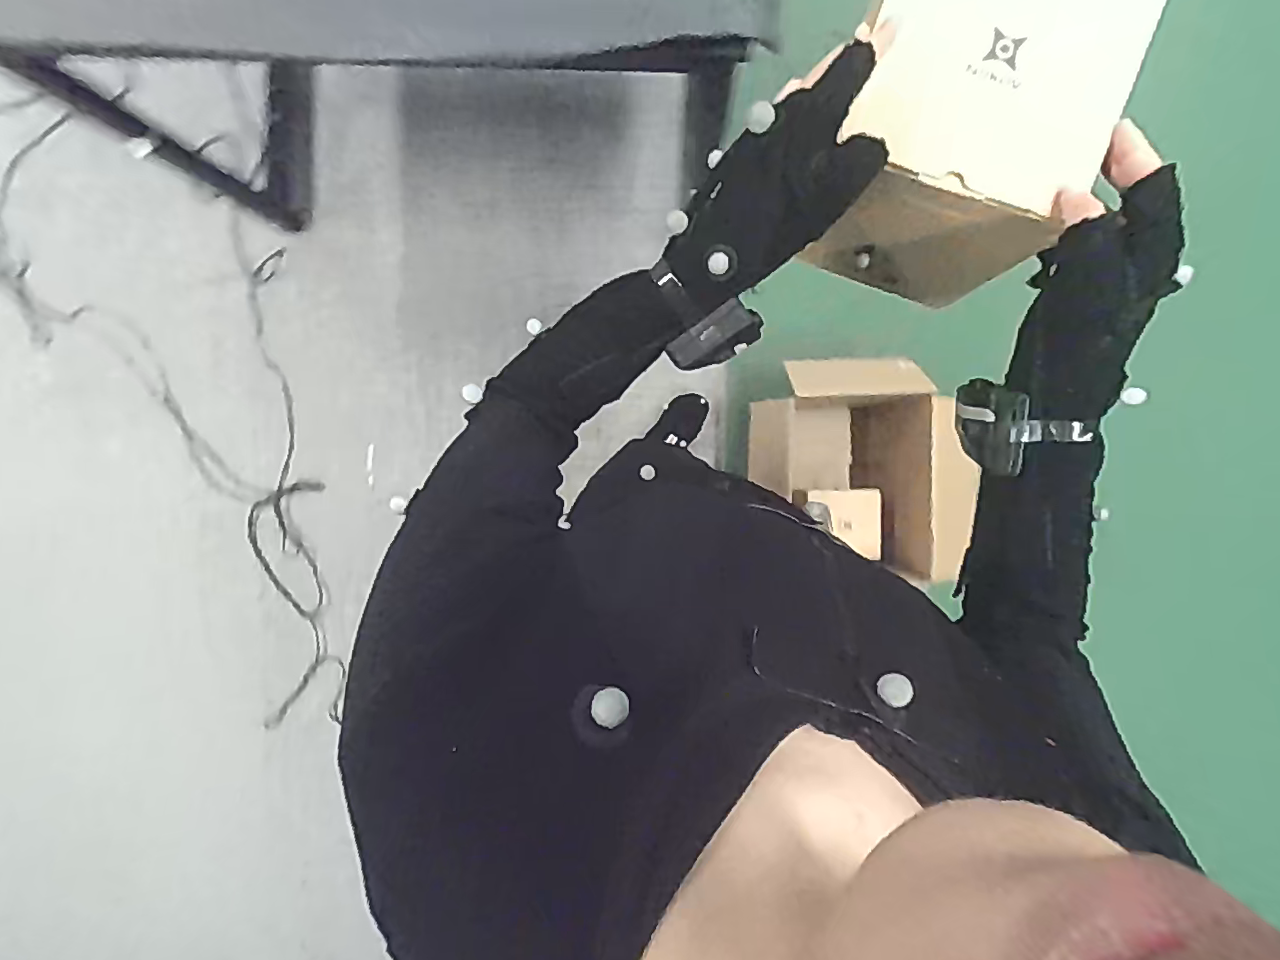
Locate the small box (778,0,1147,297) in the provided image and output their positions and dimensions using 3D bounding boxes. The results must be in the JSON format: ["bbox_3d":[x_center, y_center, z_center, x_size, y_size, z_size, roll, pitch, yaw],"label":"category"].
[{"bbox_3d":[0.222,-0.272,0.423,0.168,0.176,0.179,19,93,2],"label":"small box"}]
